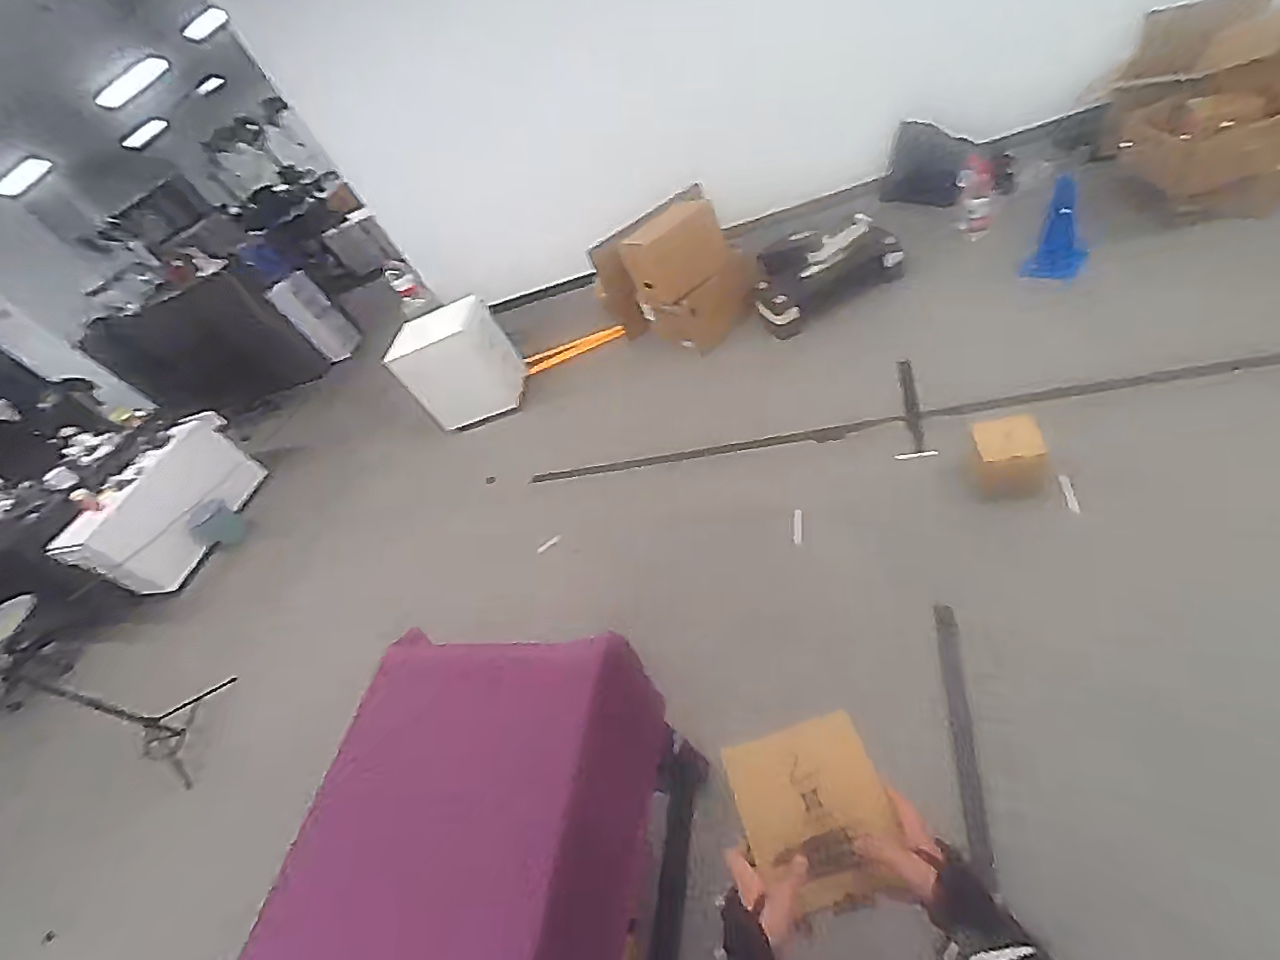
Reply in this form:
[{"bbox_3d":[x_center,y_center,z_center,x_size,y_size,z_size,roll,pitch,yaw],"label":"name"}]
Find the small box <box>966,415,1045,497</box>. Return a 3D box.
[{"bbox_3d":[1.138,-0.072,1.698,0.168,0.176,0.179,-10,47,22],"label":"small box"}]
